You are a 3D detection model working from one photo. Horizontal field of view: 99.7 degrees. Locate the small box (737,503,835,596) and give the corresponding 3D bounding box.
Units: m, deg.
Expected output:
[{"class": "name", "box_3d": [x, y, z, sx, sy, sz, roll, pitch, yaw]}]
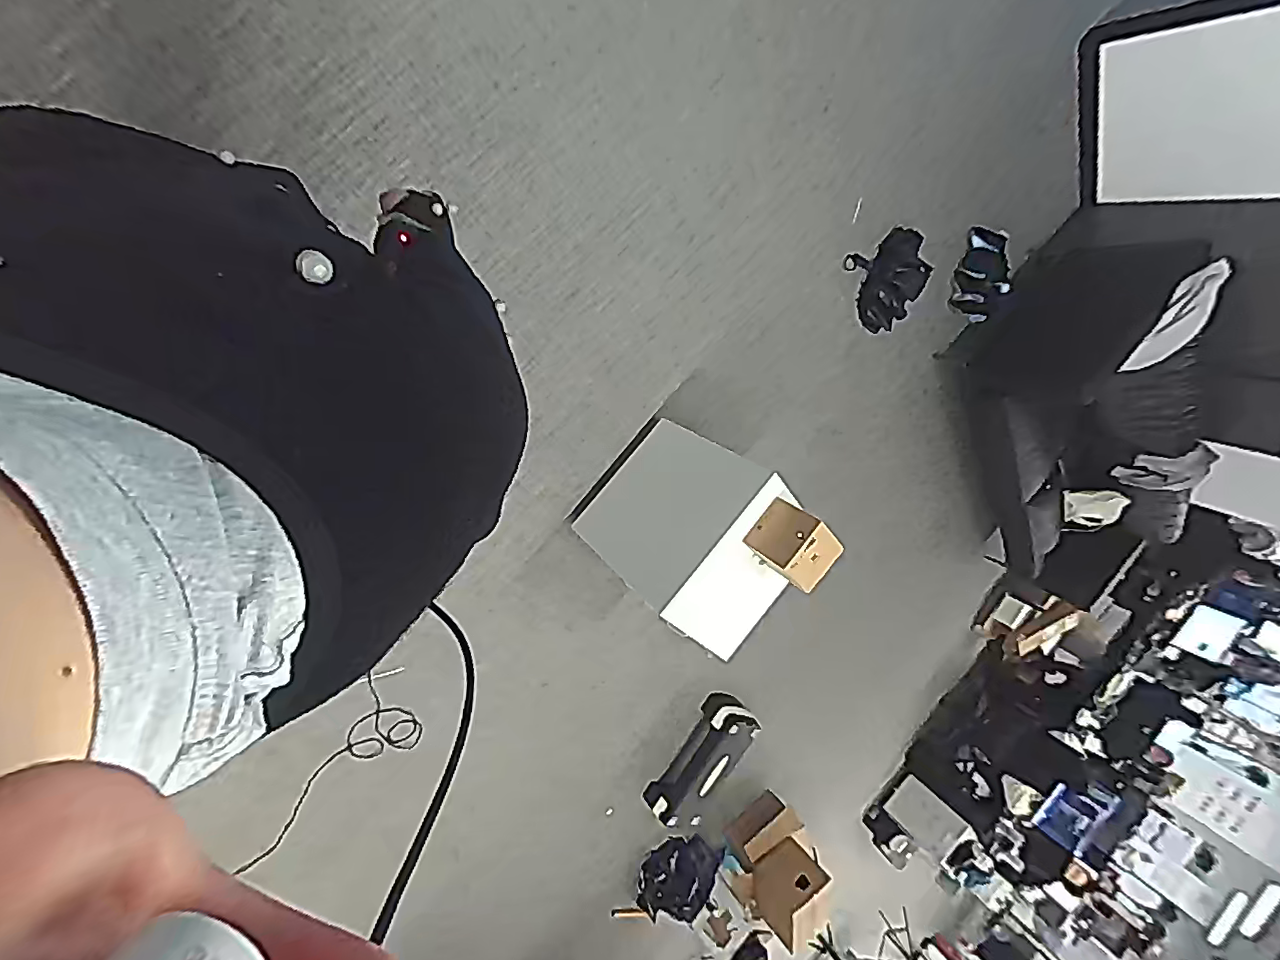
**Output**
[{"class": "small box", "box_3d": [0.408, 0.191, 1.521, 0.168, 0.176, 0.179, -51, 131, -3]}]
